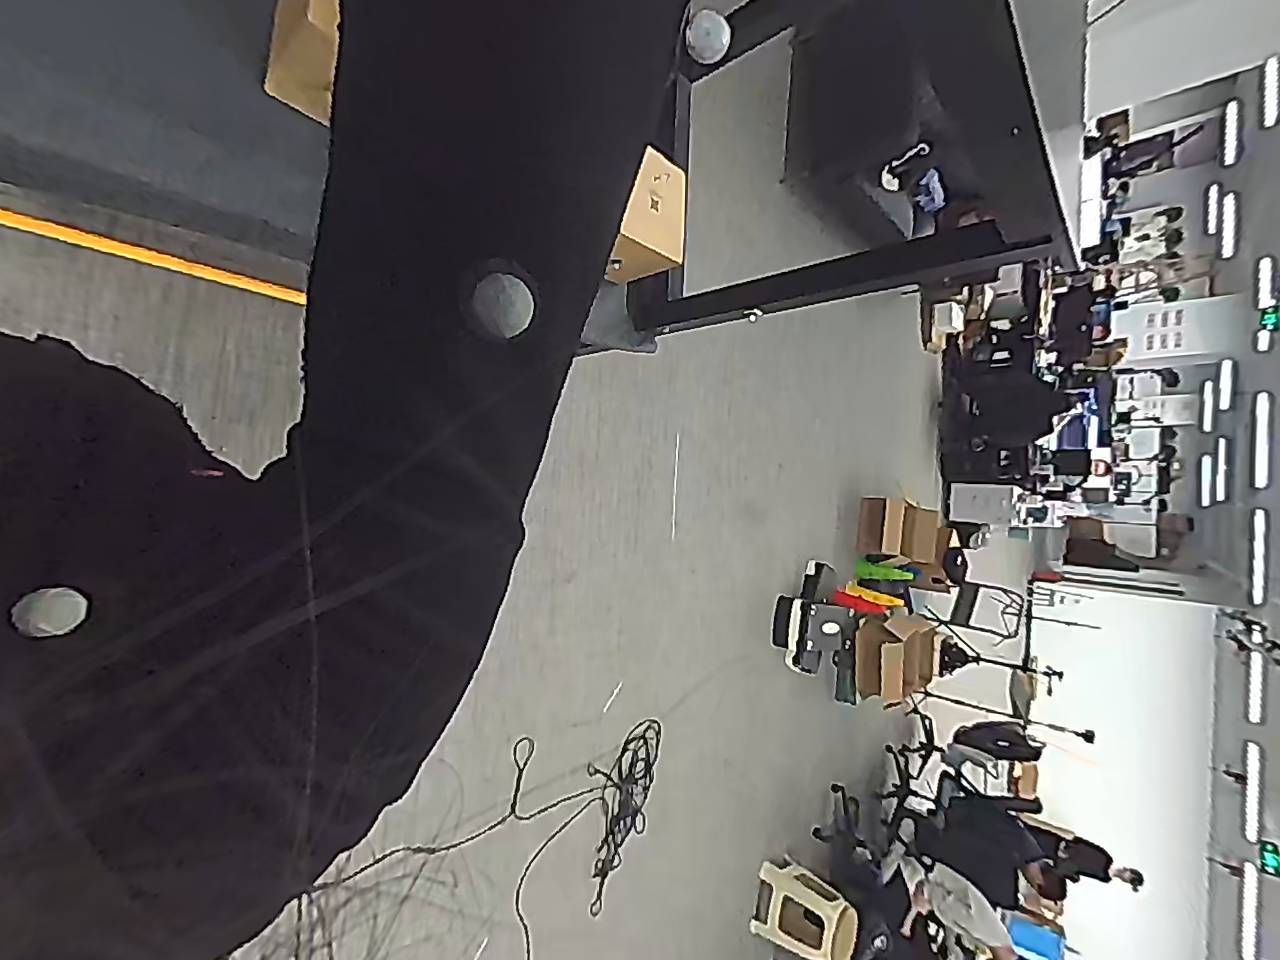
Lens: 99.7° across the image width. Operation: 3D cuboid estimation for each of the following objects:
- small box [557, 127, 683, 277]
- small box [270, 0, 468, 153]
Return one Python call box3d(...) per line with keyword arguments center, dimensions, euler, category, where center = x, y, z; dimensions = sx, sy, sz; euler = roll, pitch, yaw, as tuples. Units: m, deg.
box3d(center=(-0.039, -0.498, 1.003), dimensions=(0.168, 0.176, 0.179), euler=(2, 90, -48), category="small box")
box3d(center=(-0.340, -0.555, 0.676), dimensions=(0.168, 0.176, 0.179), euler=(10, 84, -48), category="small box")
